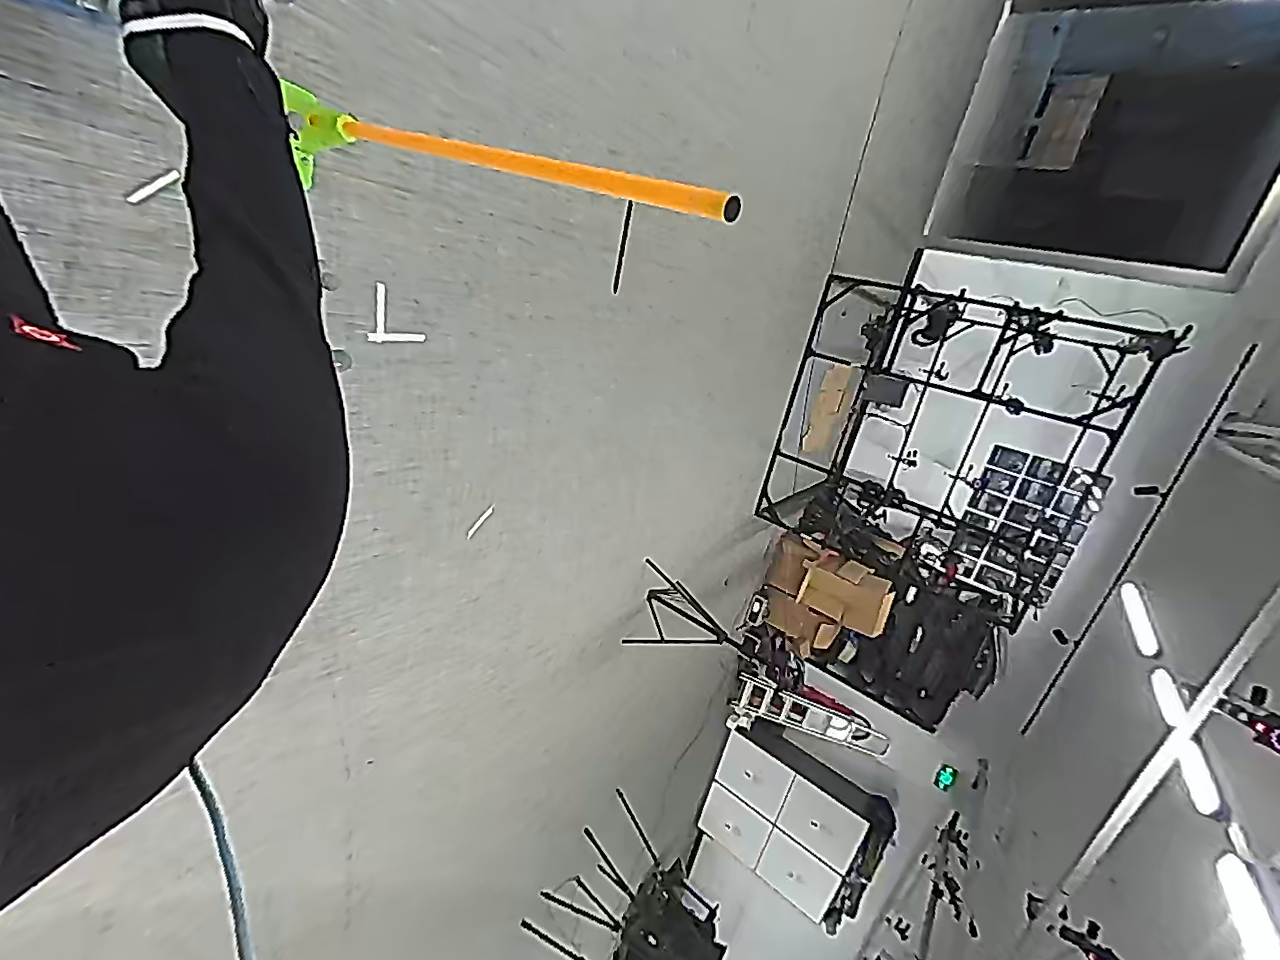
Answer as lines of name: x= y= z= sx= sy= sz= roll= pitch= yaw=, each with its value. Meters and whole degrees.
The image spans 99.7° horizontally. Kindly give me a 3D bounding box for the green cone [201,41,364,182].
green cone: x=-0.661 y=-0.700 z=1.052 sx=0.202 sy=0.368 sz=0.200 roll=-10 pitch=120 yaw=-57
